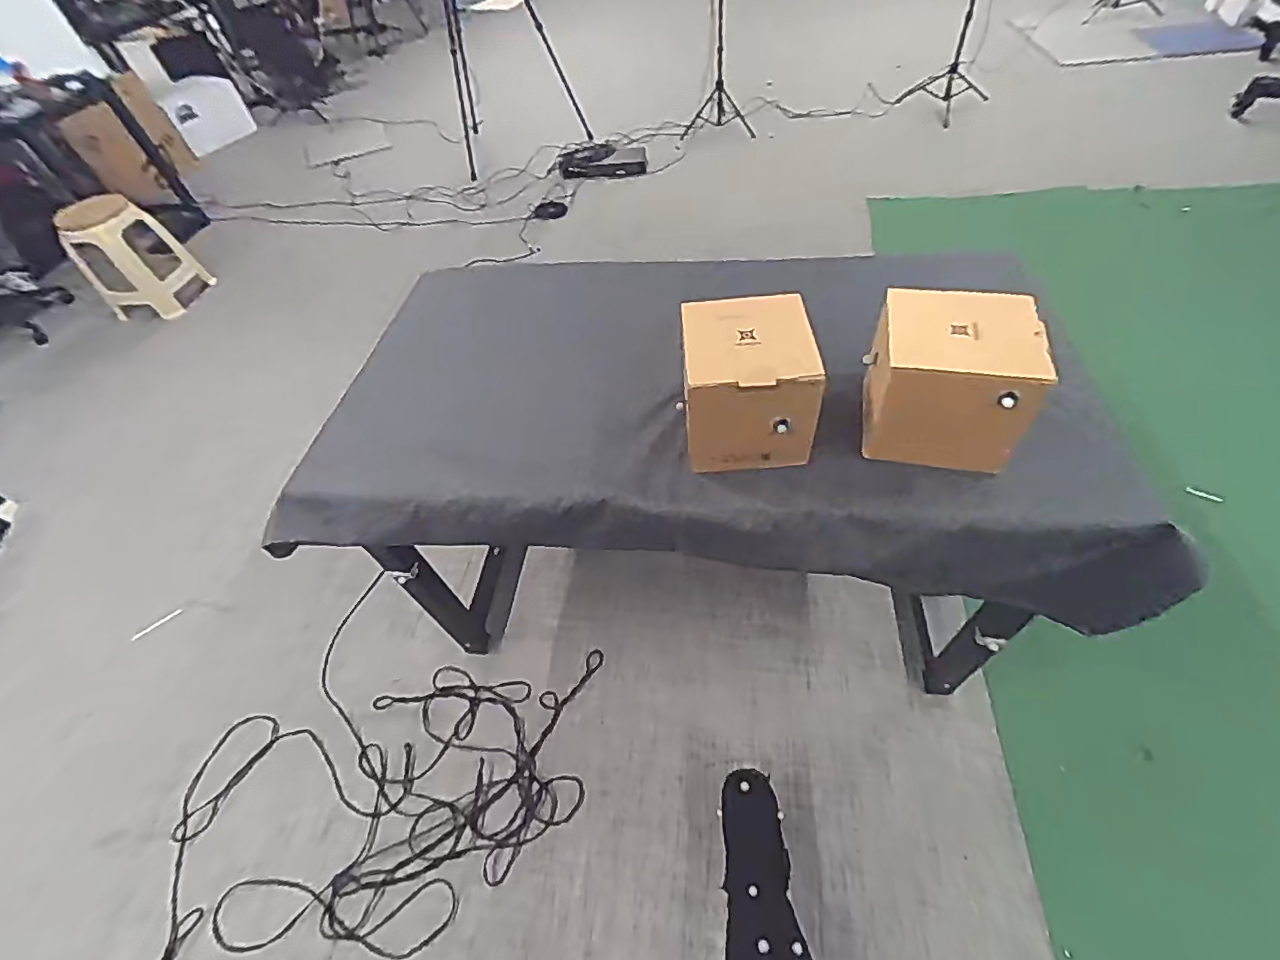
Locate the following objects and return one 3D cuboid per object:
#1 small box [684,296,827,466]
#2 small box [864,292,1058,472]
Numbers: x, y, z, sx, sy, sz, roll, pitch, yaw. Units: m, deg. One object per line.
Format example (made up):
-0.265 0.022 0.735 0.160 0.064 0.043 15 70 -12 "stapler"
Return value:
0.150 -0.130 0.758 0.168 0.176 0.179 -3 50 3 "small box"
0.407 -0.129 0.723 0.179 0.176 0.168 8 53 13 "small box"
